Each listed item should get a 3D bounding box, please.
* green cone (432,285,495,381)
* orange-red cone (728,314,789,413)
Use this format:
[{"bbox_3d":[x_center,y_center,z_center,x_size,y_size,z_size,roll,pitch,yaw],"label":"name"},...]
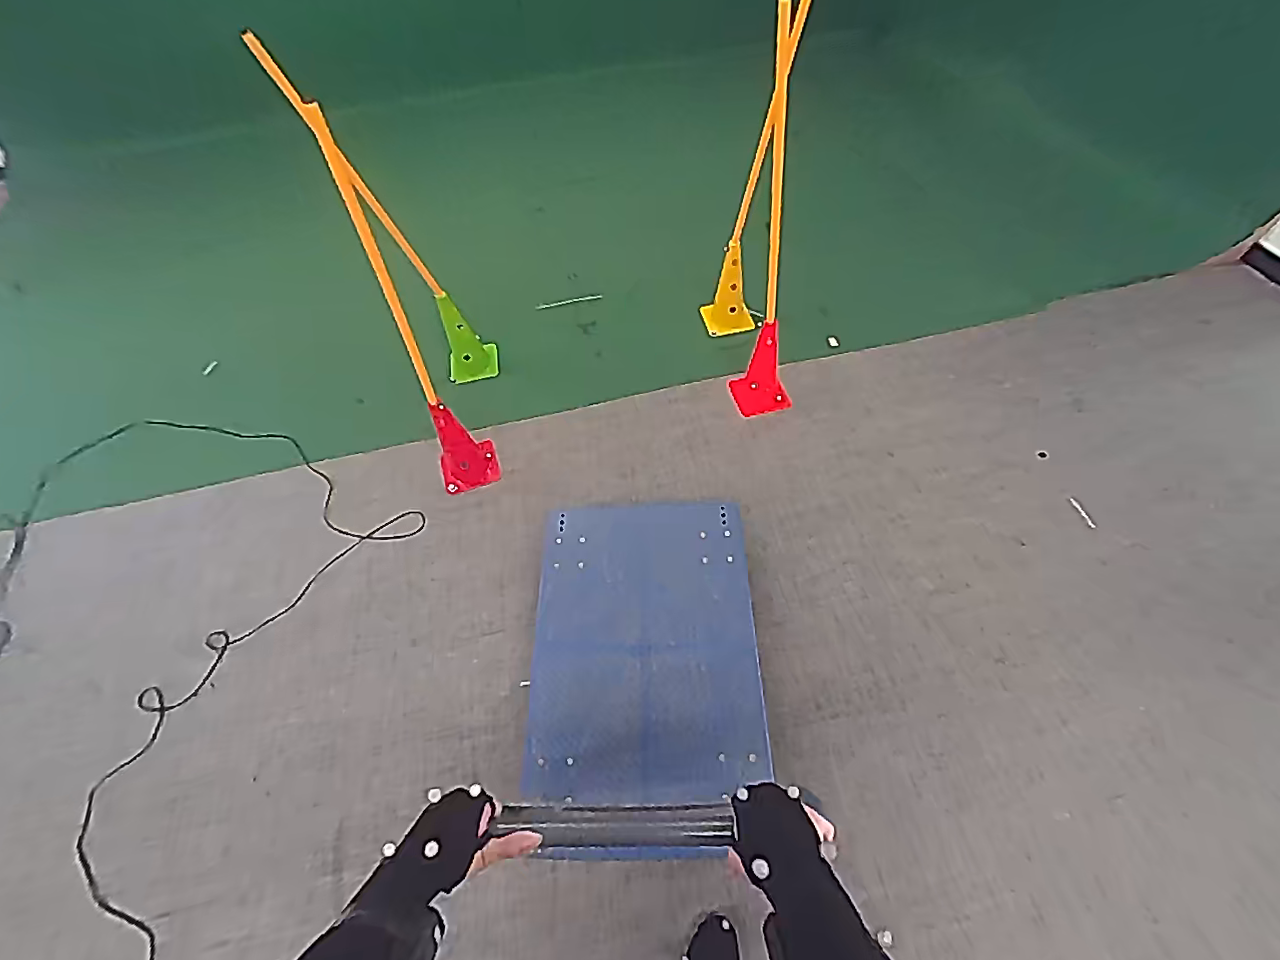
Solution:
[{"bbox_3d":[-0.723,-0.599,2.125,0.200,0.368,0.202,-13,55,-3],"label":"green cone"},{"bbox_3d":[0.438,-0.435,1.922,0.198,0.360,0.199,-12,54,-4],"label":"orange-red cone"}]
